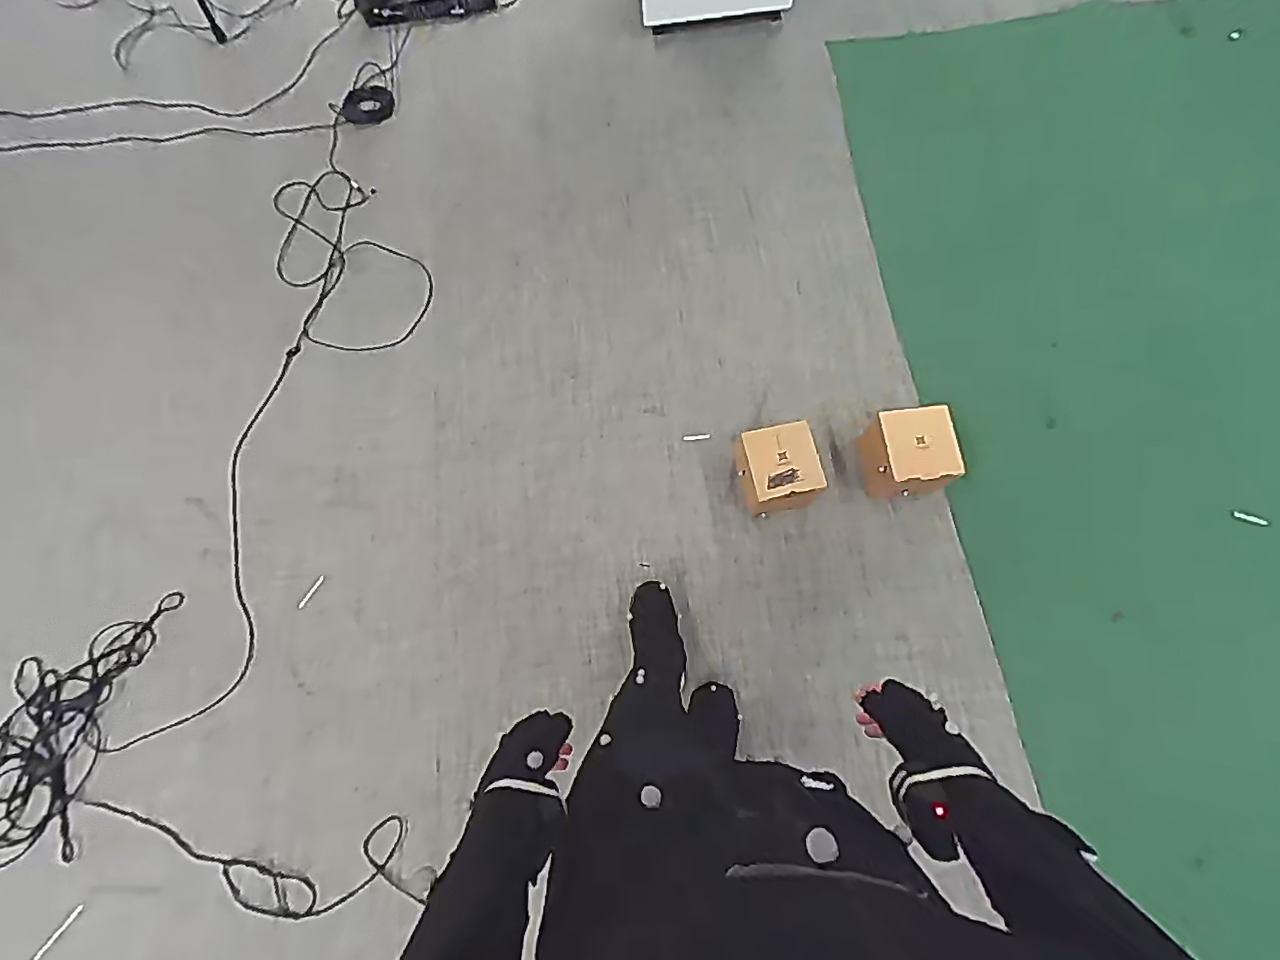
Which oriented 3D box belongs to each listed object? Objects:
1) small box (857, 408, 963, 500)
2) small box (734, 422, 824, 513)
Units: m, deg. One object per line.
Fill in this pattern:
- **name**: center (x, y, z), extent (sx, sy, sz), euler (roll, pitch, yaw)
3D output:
- **small box**: center (0.664, -0.061, 1.355), extent (0.168, 0.176, 0.179), euler (-6, 73, 2)
- **small box**: center (0.342, -0.023, 1.359), extent (0.168, 0.176, 0.179), euler (-11, 72, -1)
